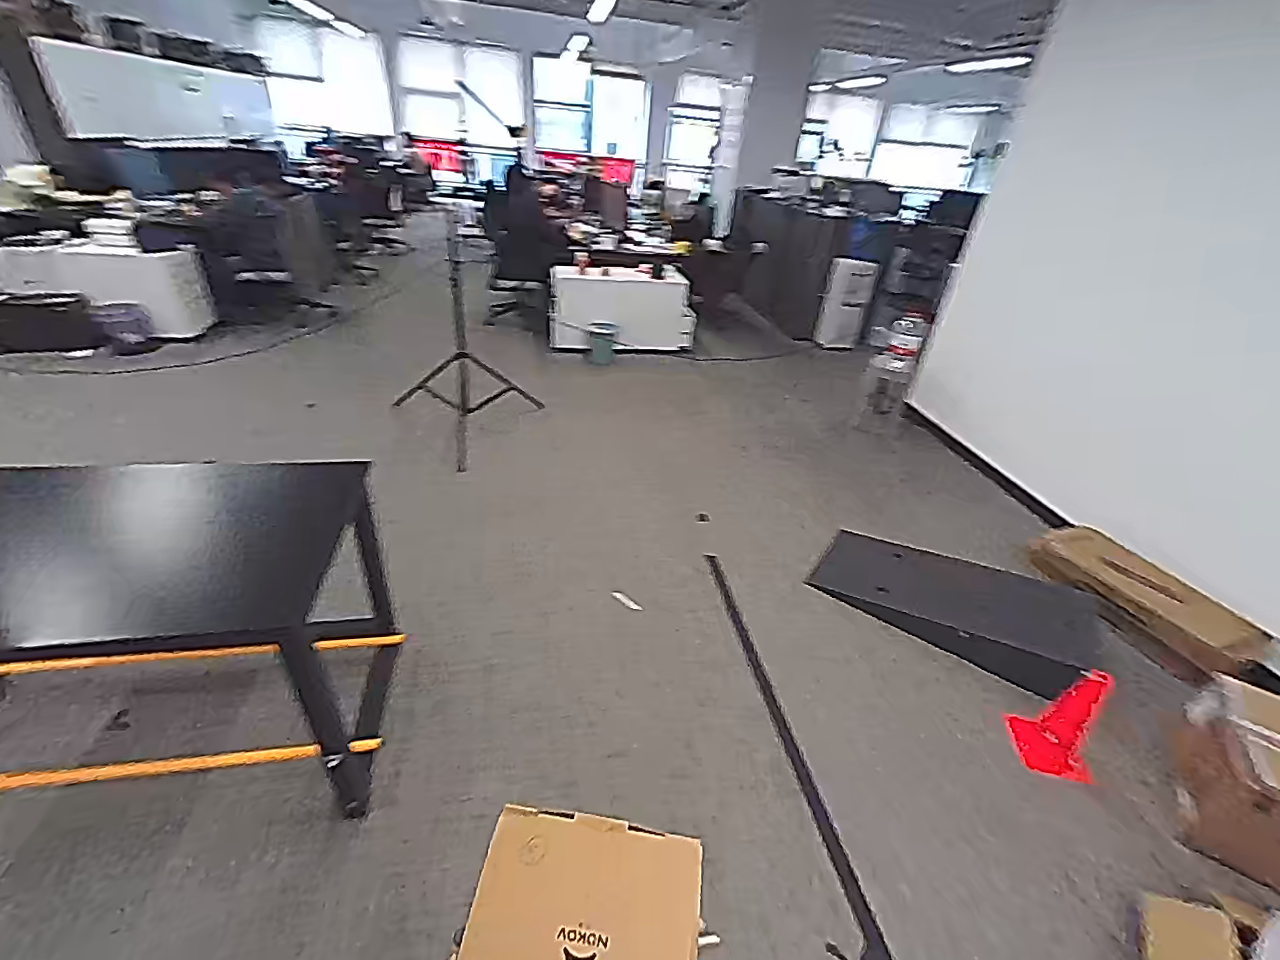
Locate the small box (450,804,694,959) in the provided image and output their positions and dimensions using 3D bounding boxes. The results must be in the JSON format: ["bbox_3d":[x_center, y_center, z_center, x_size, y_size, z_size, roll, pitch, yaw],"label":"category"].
[{"bbox_3d":[-0.055,0.389,0.428,0.168,0.176,0.179,8,45,3],"label":"small box"}]
